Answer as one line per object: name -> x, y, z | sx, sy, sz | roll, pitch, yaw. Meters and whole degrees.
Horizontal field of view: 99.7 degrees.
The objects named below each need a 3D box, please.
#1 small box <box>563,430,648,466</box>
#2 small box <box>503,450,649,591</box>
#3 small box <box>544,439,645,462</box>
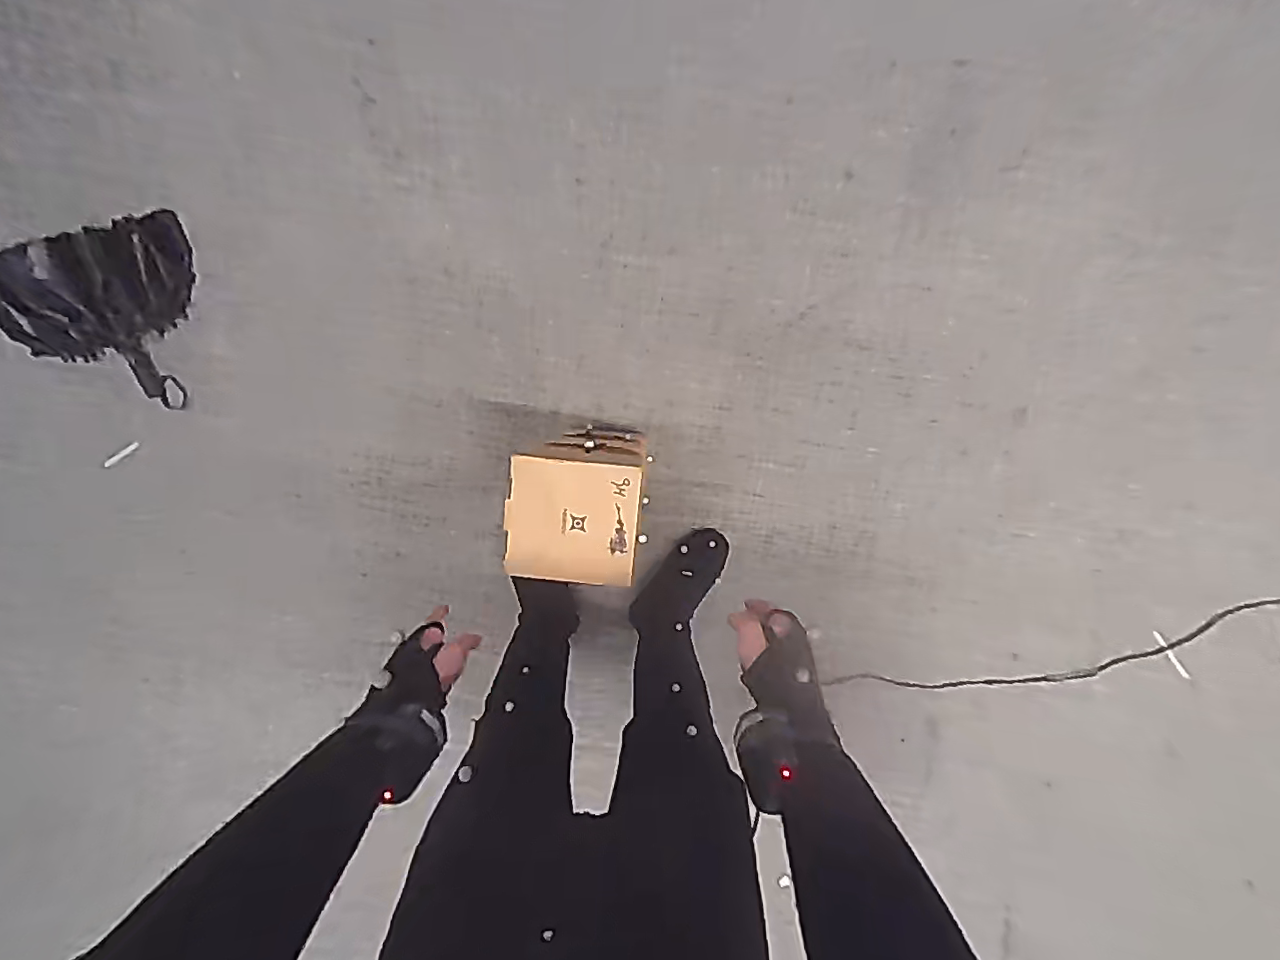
small box -> -0.071, -0.007, 1.118 | 0.168, 0.176, 0.179 | 5, 100, 2
small box -> -0.085, 0.049, 0.795 | 0.179, 0.176, 0.168 | 7, 99, 2
small box -> -0.079, 0.024, 0.956 | 0.168, 0.176, 0.179 | 5, 99, 1
